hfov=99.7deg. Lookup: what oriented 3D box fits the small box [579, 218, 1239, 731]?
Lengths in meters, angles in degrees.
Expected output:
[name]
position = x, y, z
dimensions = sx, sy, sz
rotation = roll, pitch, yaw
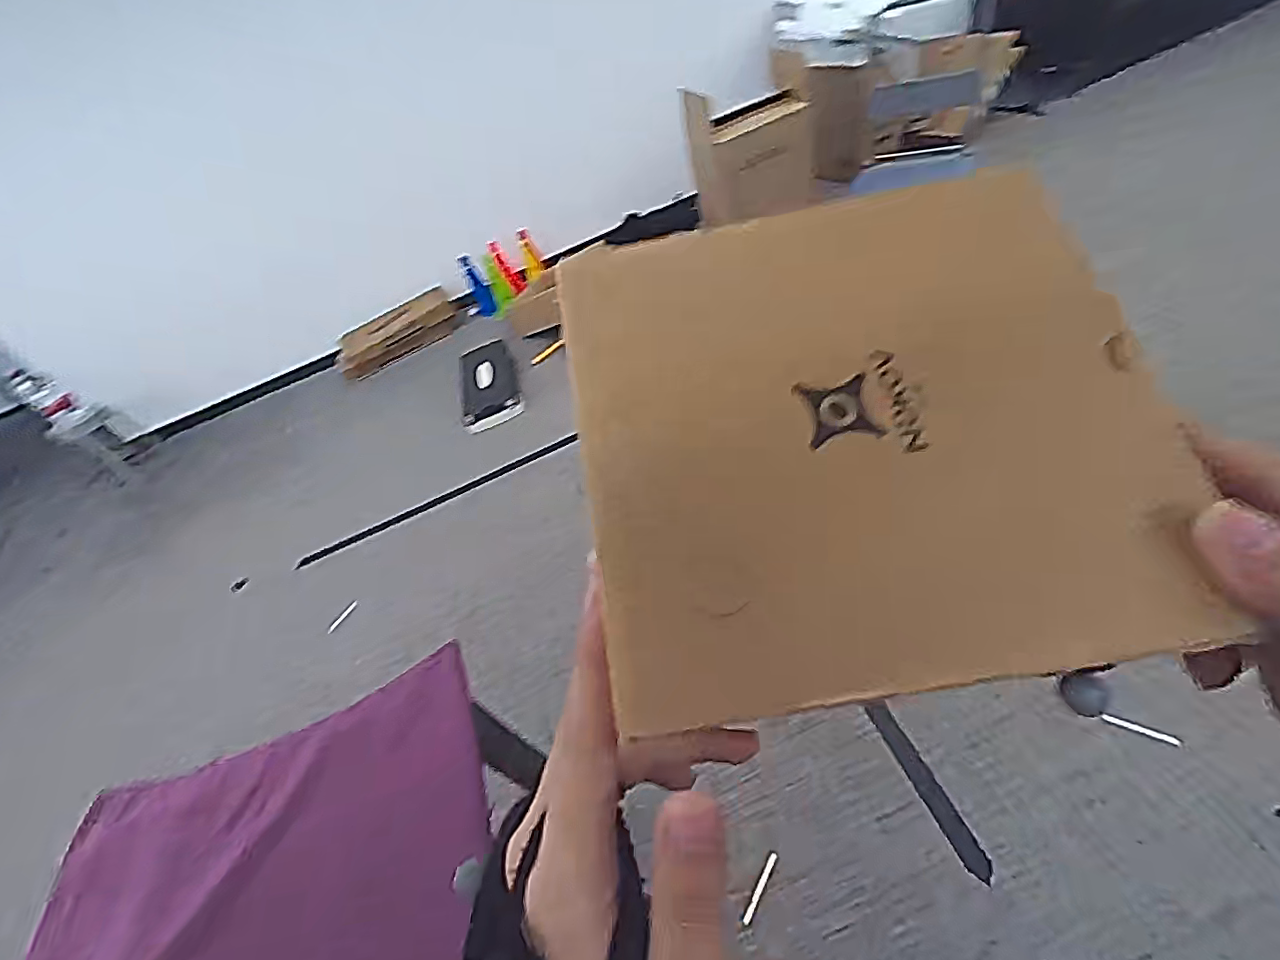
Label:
[small box]
position = 0.080, 0.017, 0.258
dimensions = 0.179, 0.176, 0.168
rotation = -10, 68, 3
